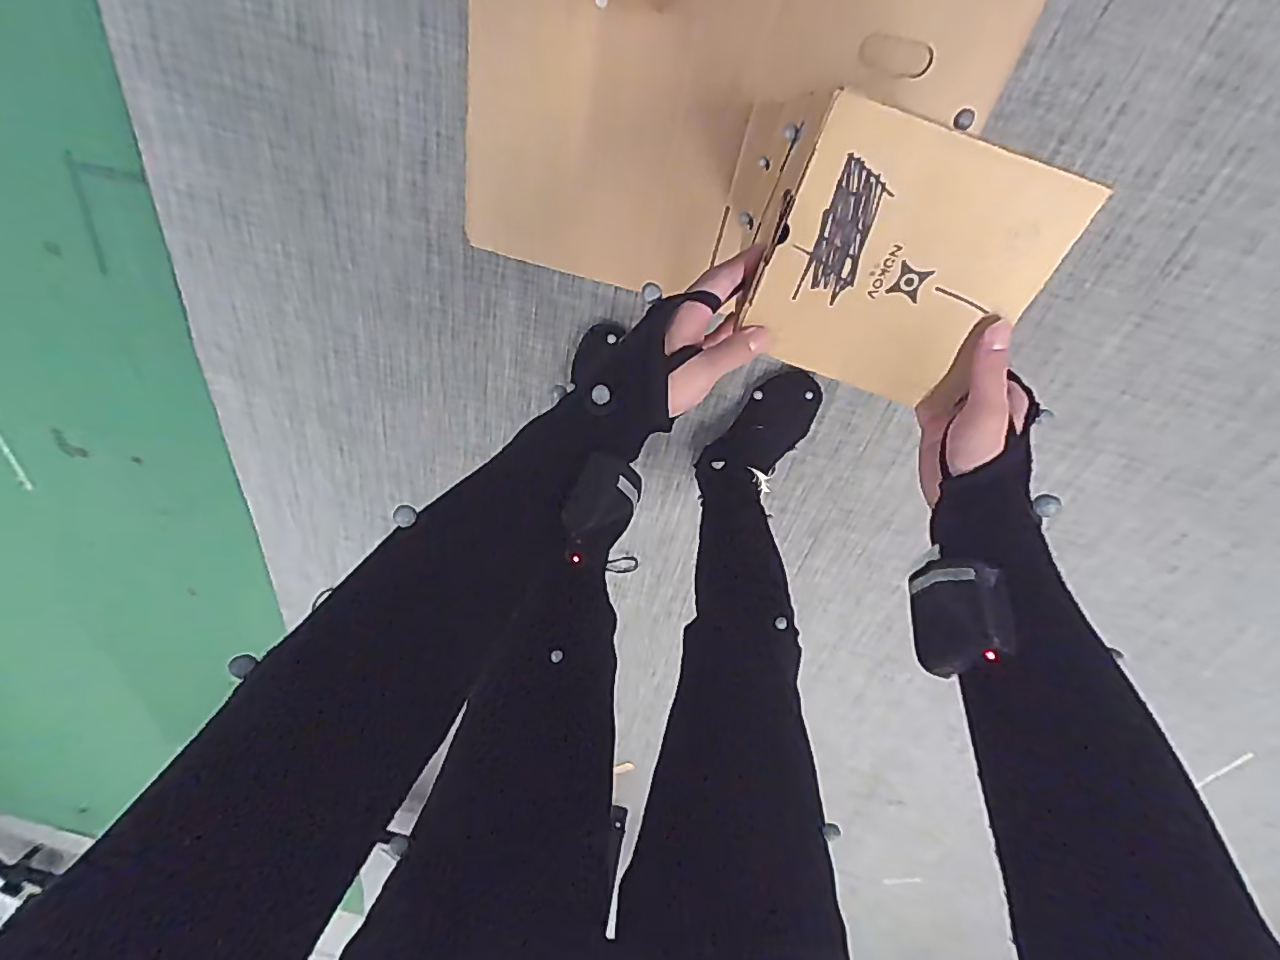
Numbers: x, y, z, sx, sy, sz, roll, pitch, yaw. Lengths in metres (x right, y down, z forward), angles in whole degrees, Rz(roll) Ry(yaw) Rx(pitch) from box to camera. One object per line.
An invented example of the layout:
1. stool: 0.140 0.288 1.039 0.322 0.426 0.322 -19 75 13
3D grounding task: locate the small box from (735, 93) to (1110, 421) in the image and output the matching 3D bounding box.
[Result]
1. small box: 0.188 -0.178 0.427 0.179 0.176 0.168 19 126 -2

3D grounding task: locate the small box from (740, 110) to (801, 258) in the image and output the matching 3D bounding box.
1. small box: 0.240 -0.360 0.696 0.179 0.176 0.168 17 126 -1

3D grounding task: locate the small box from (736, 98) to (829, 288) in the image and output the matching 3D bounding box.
1. small box: 0.213 -0.271 0.562 0.179 0.176 0.168 19 126 -2
